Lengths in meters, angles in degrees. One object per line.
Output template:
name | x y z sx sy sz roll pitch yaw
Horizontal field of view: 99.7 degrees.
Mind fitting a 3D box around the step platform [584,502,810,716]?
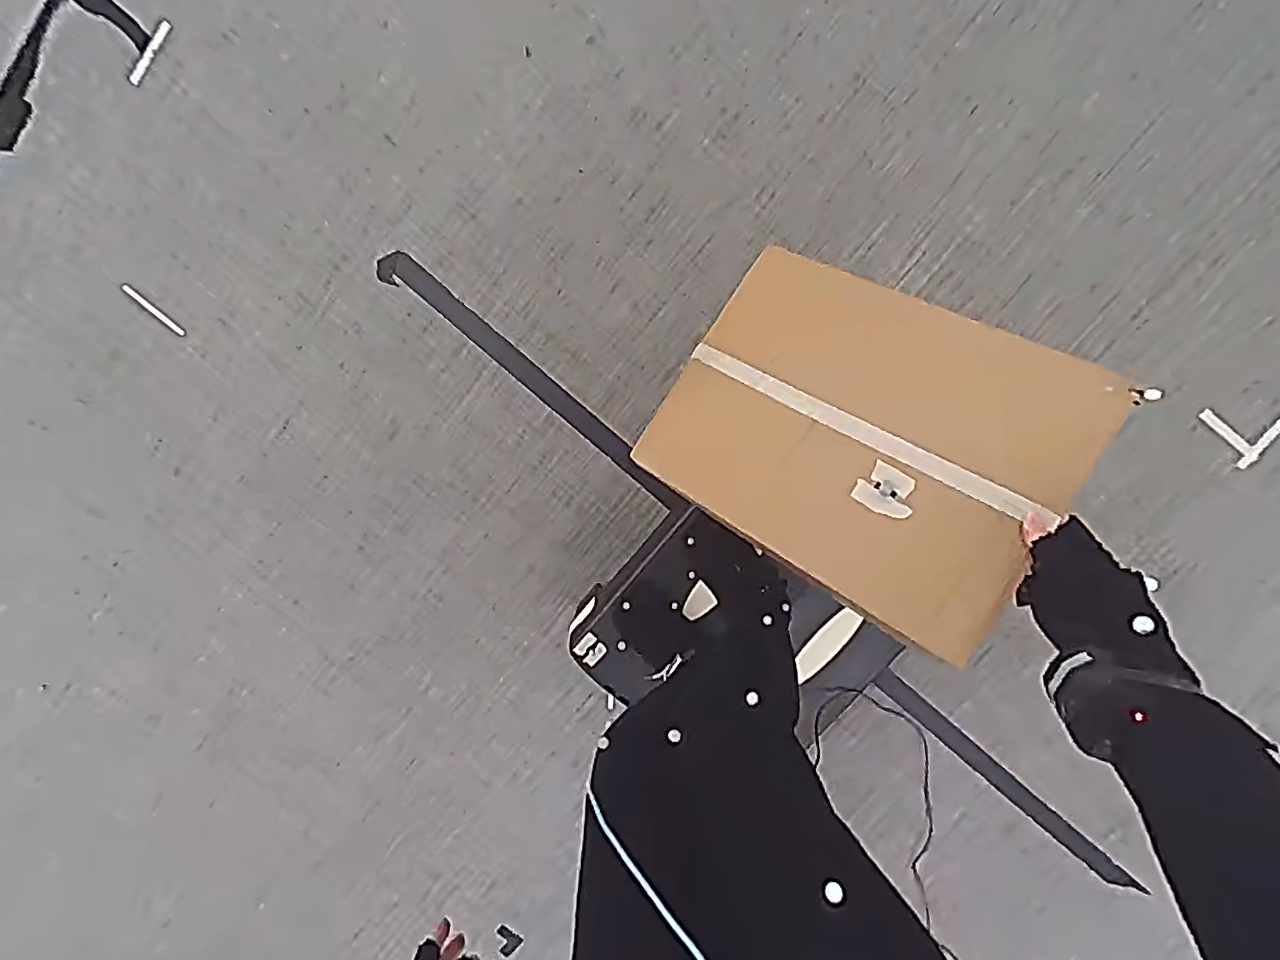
step platform | 0.185 0.135 1.096 0.286 0.204 0.684 38 97 -4

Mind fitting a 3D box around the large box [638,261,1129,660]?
large box | 0.278 -0.017 0.723 0.408 0.320 0.320 33 91 24
